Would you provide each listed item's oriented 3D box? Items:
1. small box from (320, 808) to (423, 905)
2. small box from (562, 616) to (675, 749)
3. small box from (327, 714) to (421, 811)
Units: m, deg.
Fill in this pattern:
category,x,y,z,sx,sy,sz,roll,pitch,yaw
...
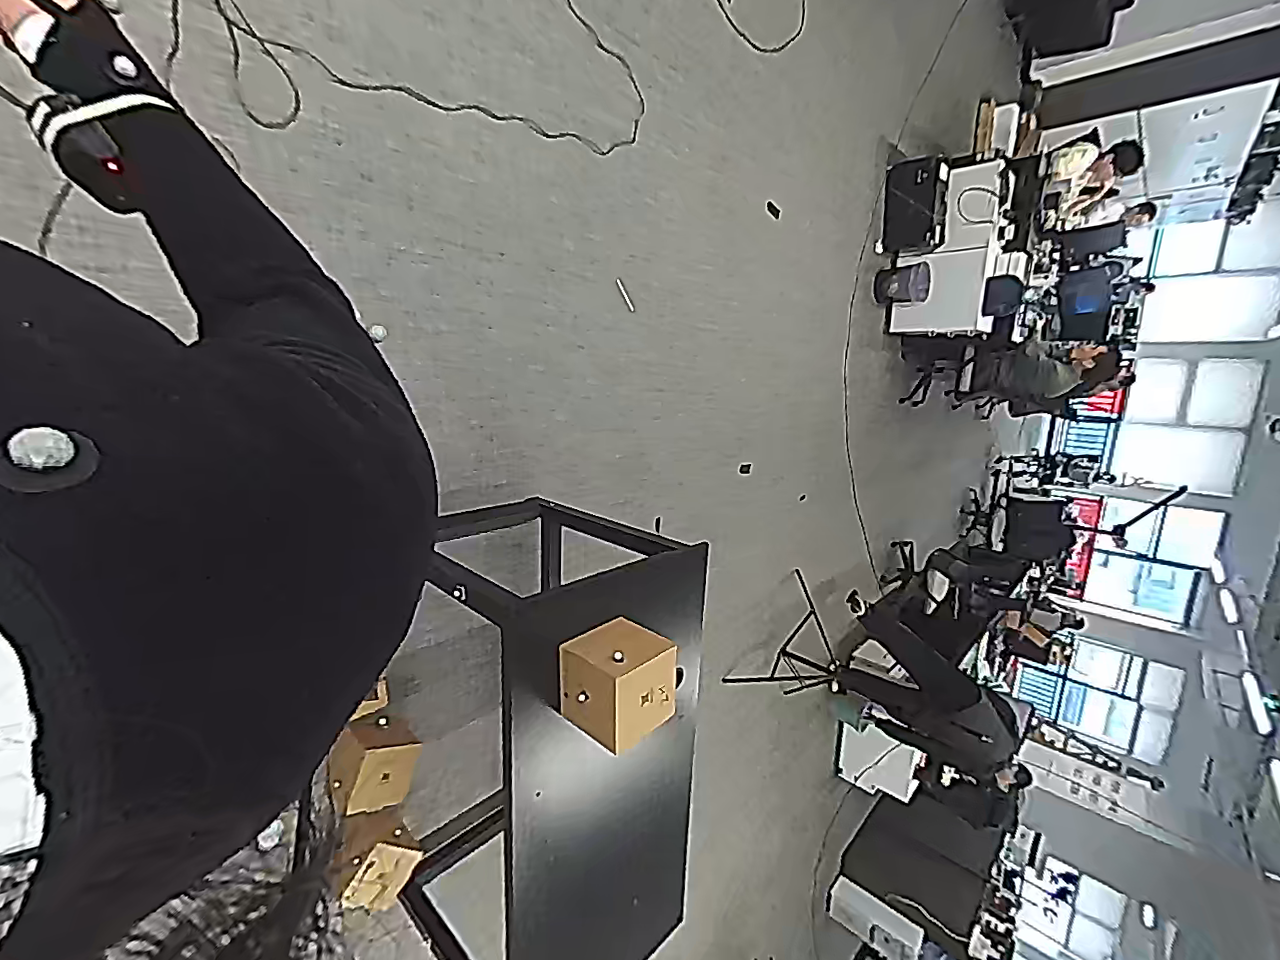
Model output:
category,x,y,z,sx,sy,sz,roll,pitch,yaw
small box,-0.782,1.091,1.573,0.168,0.176,0.179,-58,134,-21
small box,-0.048,0.404,1.113,0.179,0.176,0.168,-13,110,-46
small box,-0.757,0.791,1.532,0.168,0.176,0.179,21,83,-49
